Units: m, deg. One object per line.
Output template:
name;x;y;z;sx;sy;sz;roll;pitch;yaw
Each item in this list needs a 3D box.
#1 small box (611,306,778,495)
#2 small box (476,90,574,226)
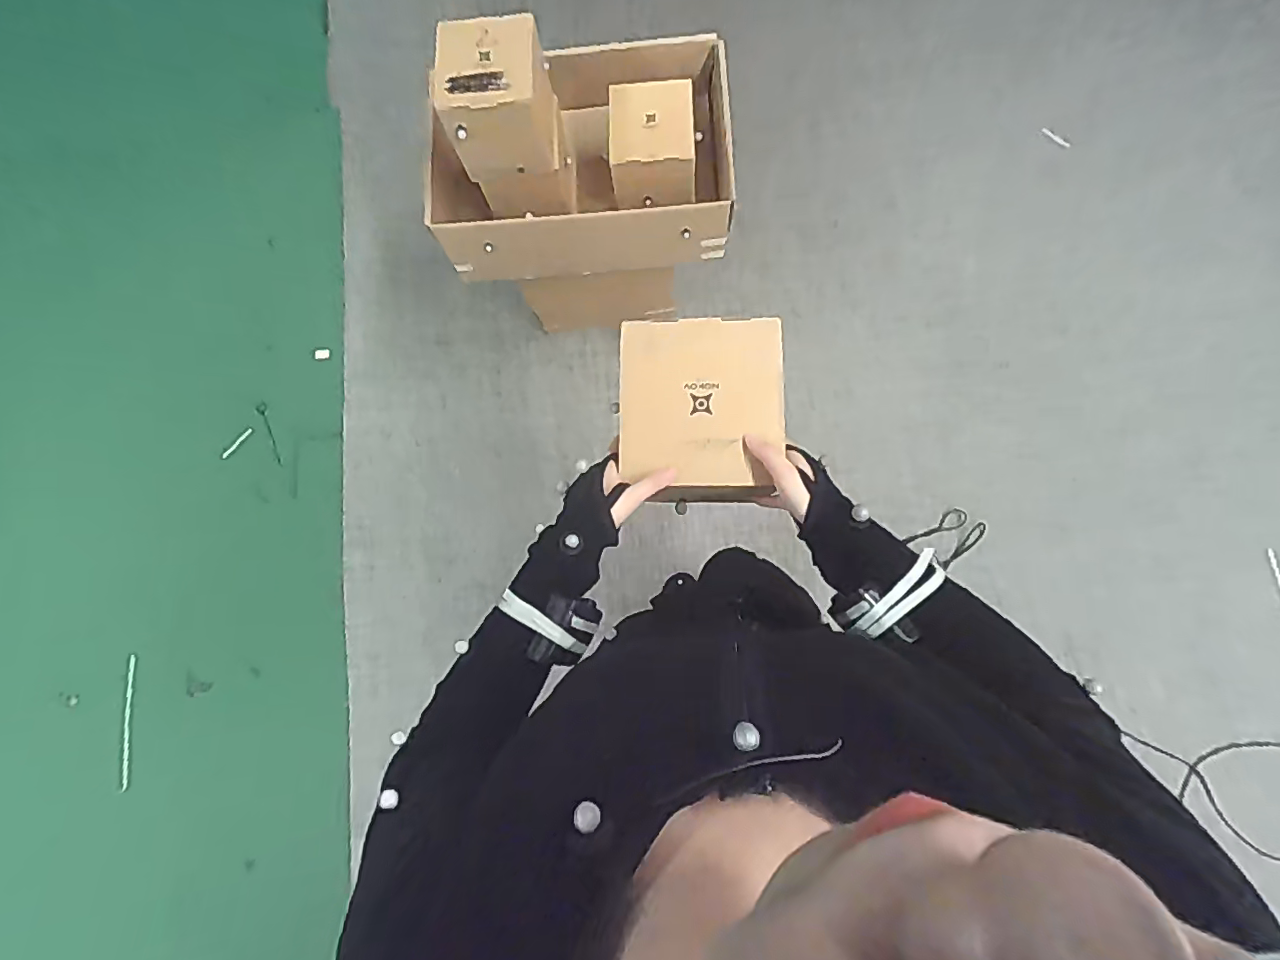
small box;0.059;-0.080;0.618;0.168;0.176;0.179;0;83;4
small box;-0.237;-0.668;1.137;0.168;0.176;0.179;-4;80;4
